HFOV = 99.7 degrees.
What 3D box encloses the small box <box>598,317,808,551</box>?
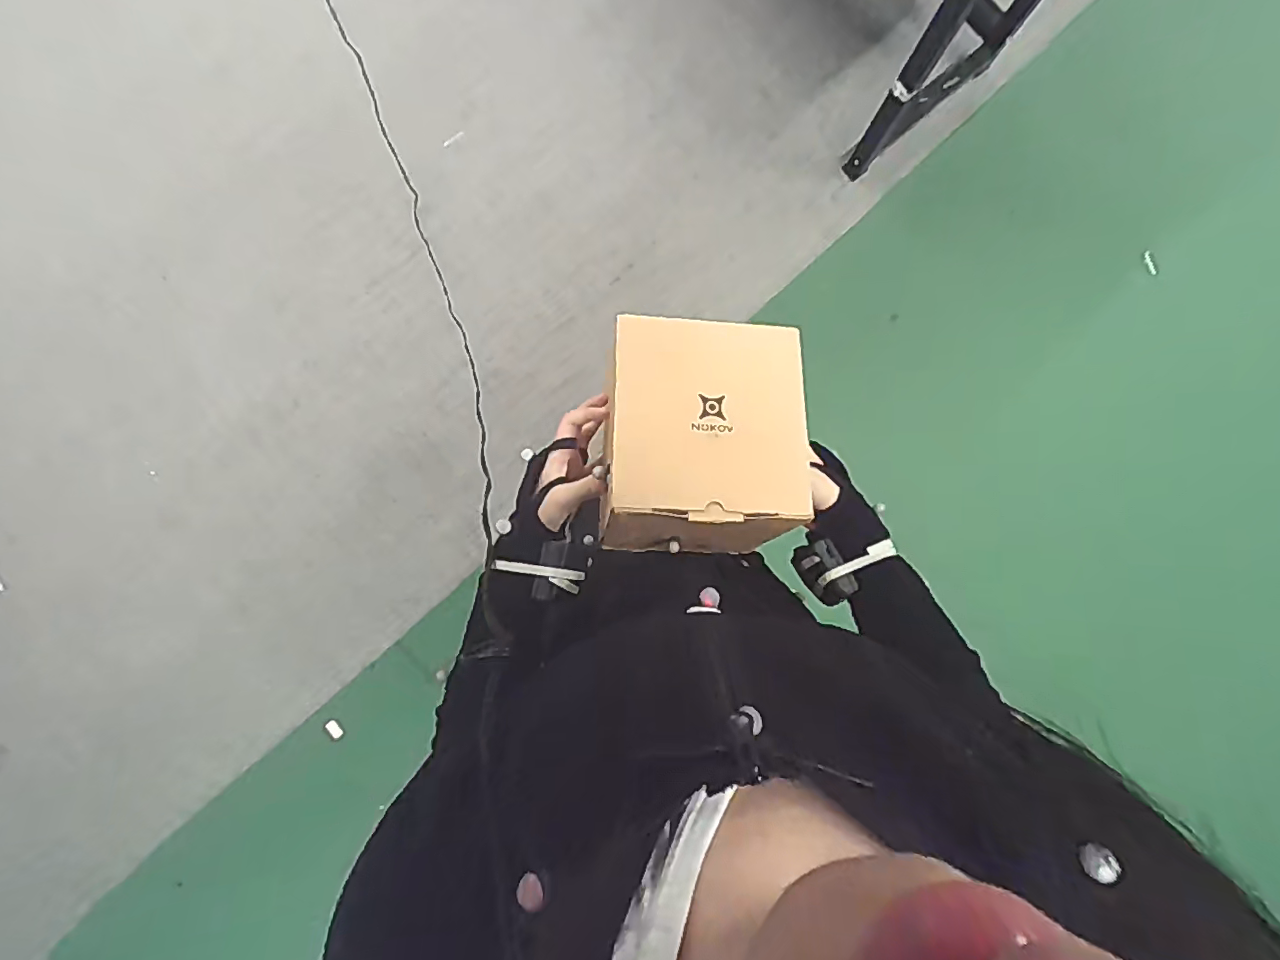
[{"bbox_3d":[0.046,-0.033,0.531,0.168,0.176,0.179,2,74,-7],"label":"small box"}]
